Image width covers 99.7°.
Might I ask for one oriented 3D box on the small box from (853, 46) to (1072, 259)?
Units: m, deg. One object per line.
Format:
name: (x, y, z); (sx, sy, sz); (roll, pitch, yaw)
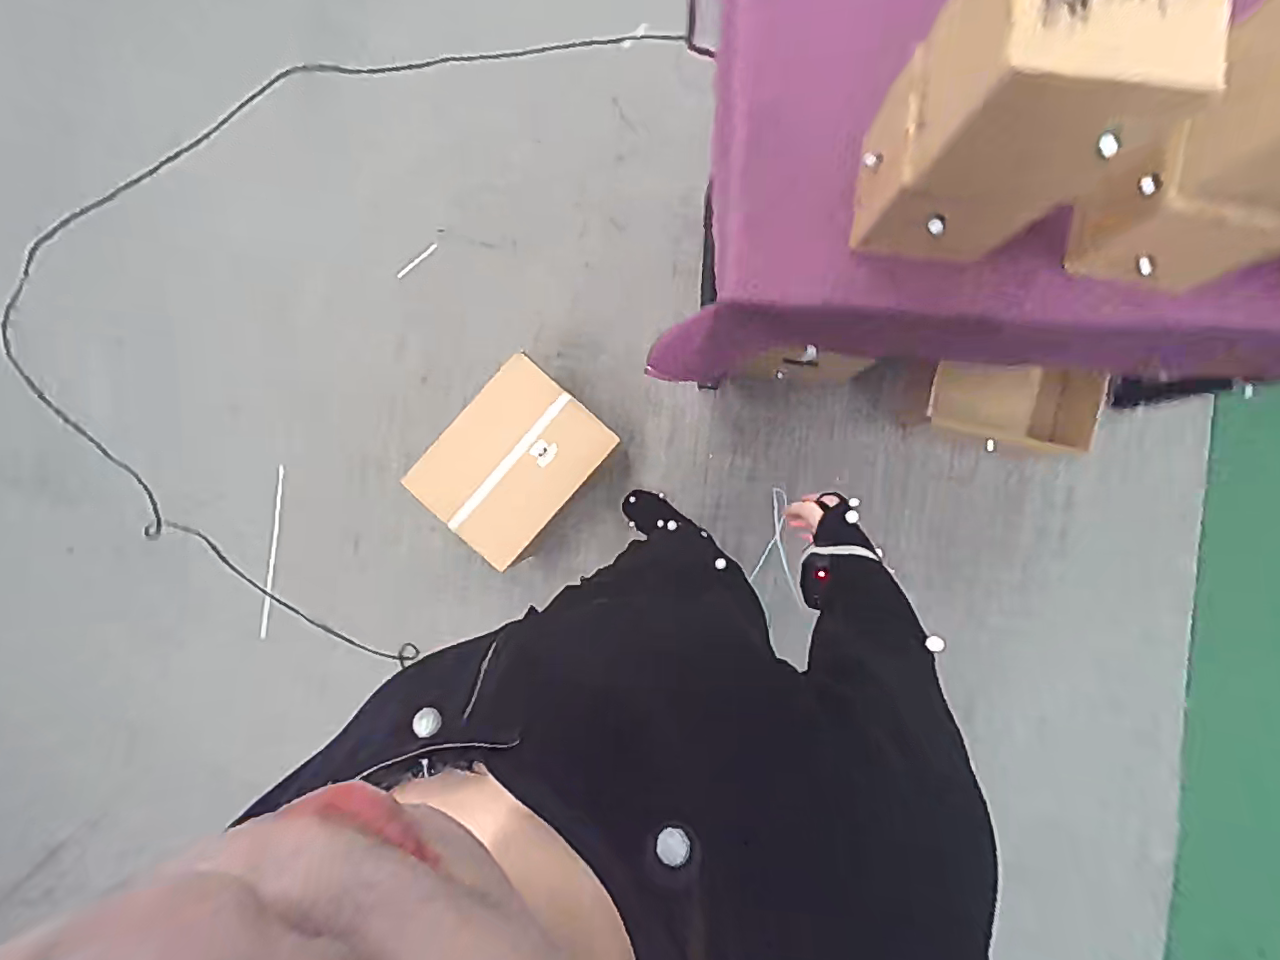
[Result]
small box: (0.389, -0.398, 0.684); (0.179, 0.176, 0.168); (7, 90, 2)

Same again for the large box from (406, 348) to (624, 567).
large box: (-0.287, -0.045, 1.358); (0.320, 0.320, 0.408); (42, 89, 1)

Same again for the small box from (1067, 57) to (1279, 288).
small box: (0.686, -0.368, 0.677); (0.168, 0.176, 0.179); (12, 90, 2)

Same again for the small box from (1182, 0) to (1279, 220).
small box: (0.683, -0.378, 0.513); (0.168, 0.176, 0.179); (13, 90, 2)
